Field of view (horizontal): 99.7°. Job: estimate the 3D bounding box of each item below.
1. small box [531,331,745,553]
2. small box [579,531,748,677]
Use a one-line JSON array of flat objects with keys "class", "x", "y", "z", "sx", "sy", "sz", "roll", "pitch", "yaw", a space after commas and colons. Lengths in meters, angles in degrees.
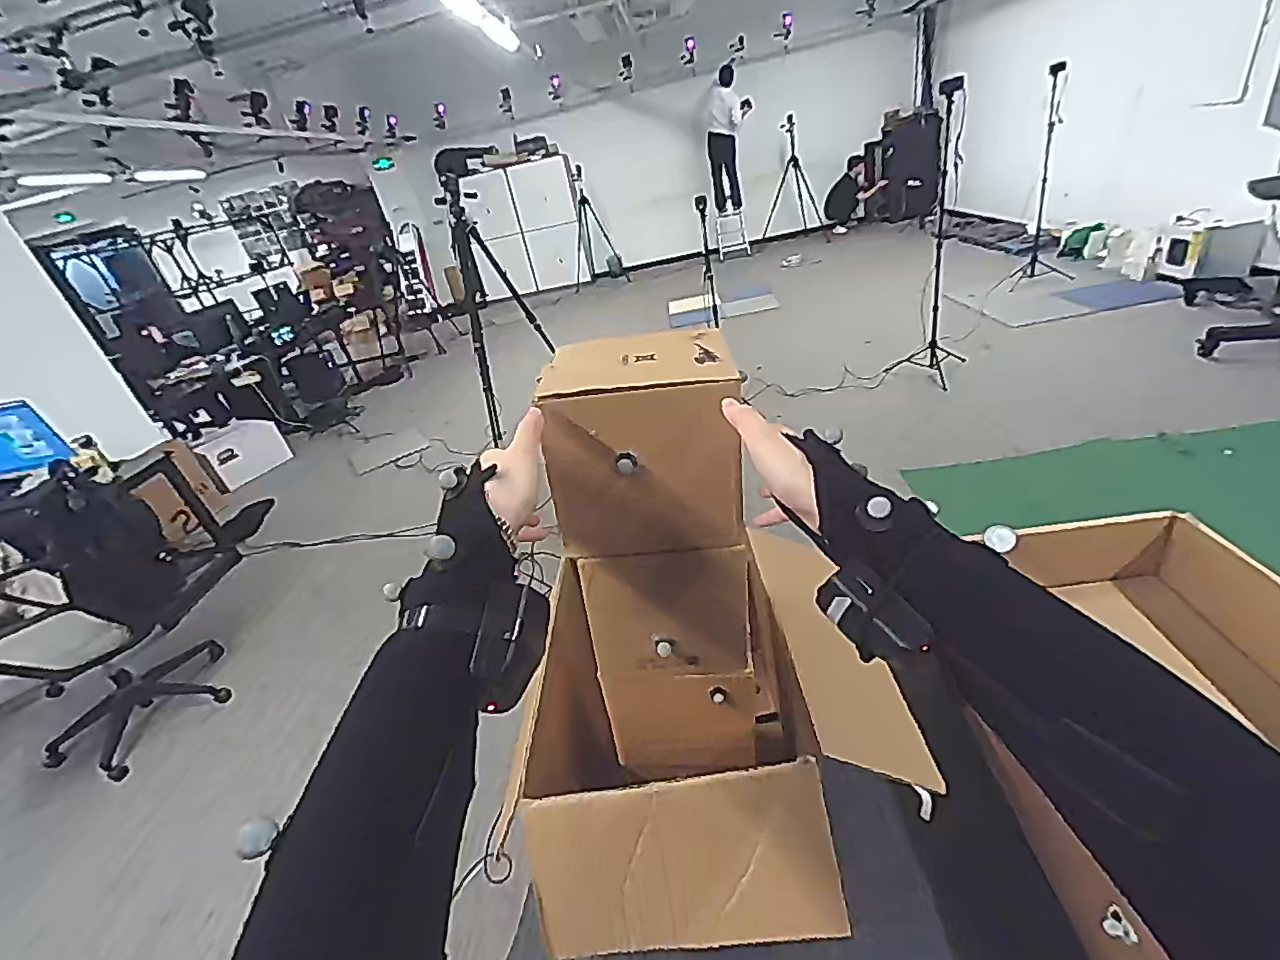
[{"class": "small box", "x": 0.006, "y": -0.040, "z": 0.550, "sx": 0.179, "sy": 0.176, "sz": 0.168, "roll": -6, "pitch": 29, "yaw": 4}, {"class": "small box", "x": 0.031, "y": 0.102, "z": 0.629, "sx": 0.168, "sy": 0.176, "sz": 0.179, "roll": -5, "pitch": 30, "yaw": 4}]
